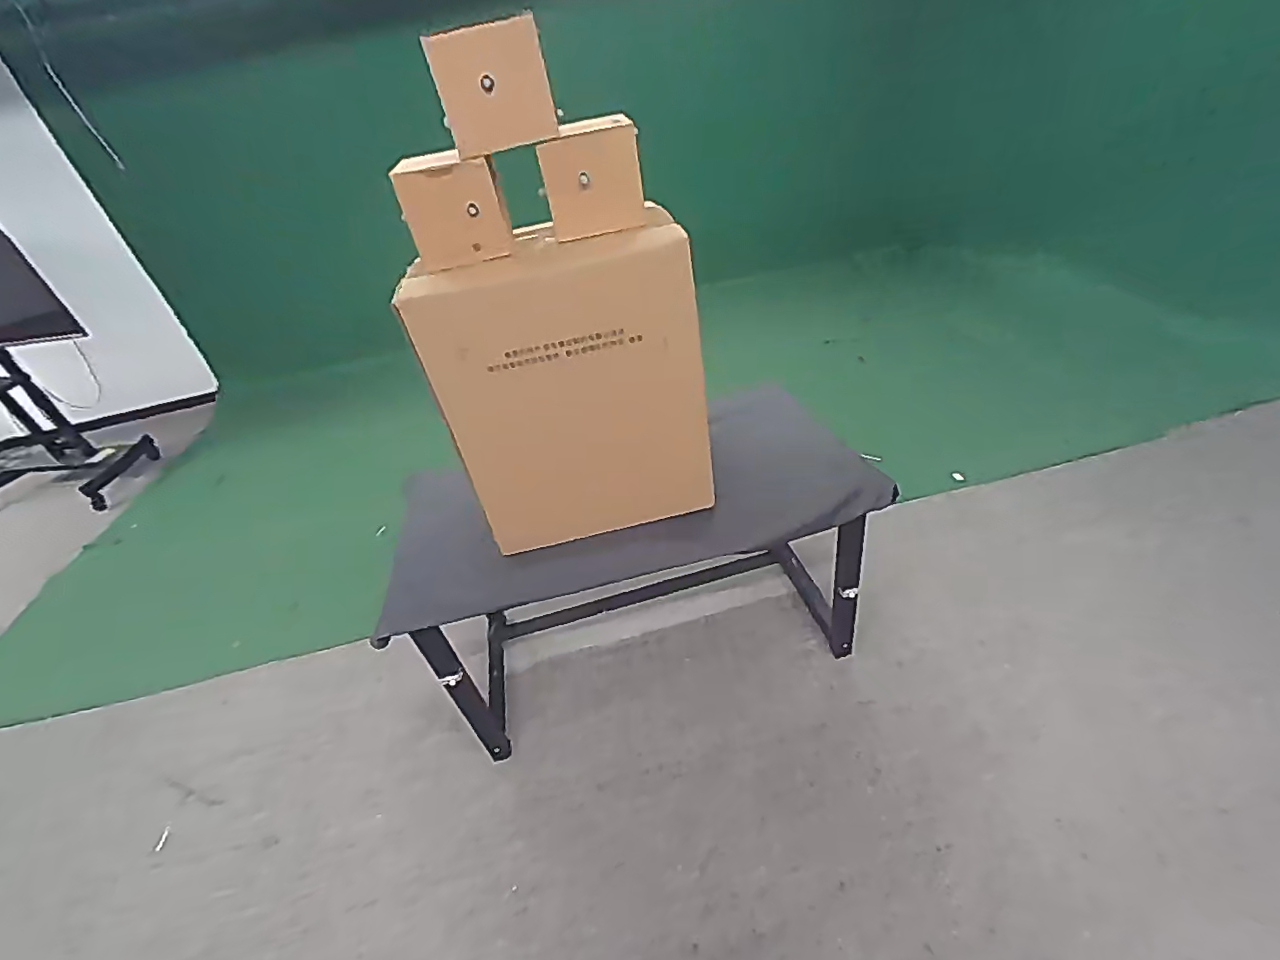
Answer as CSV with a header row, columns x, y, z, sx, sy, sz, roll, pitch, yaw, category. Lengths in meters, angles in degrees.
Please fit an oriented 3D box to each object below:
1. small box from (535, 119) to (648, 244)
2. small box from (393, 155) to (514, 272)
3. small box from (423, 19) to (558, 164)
x,y,z,sx,sy,sz,roll,pitch,yaw,category
-0.093,-0.571,1.039,0.179,0.176,0.168,-13,40,0,small box
-0.342,-0.509,1.031,0.168,0.176,0.179,-13,38,-3,small box
-0.246,-0.665,0.932,0.179,0.176,0.168,-15,39,-1,small box
